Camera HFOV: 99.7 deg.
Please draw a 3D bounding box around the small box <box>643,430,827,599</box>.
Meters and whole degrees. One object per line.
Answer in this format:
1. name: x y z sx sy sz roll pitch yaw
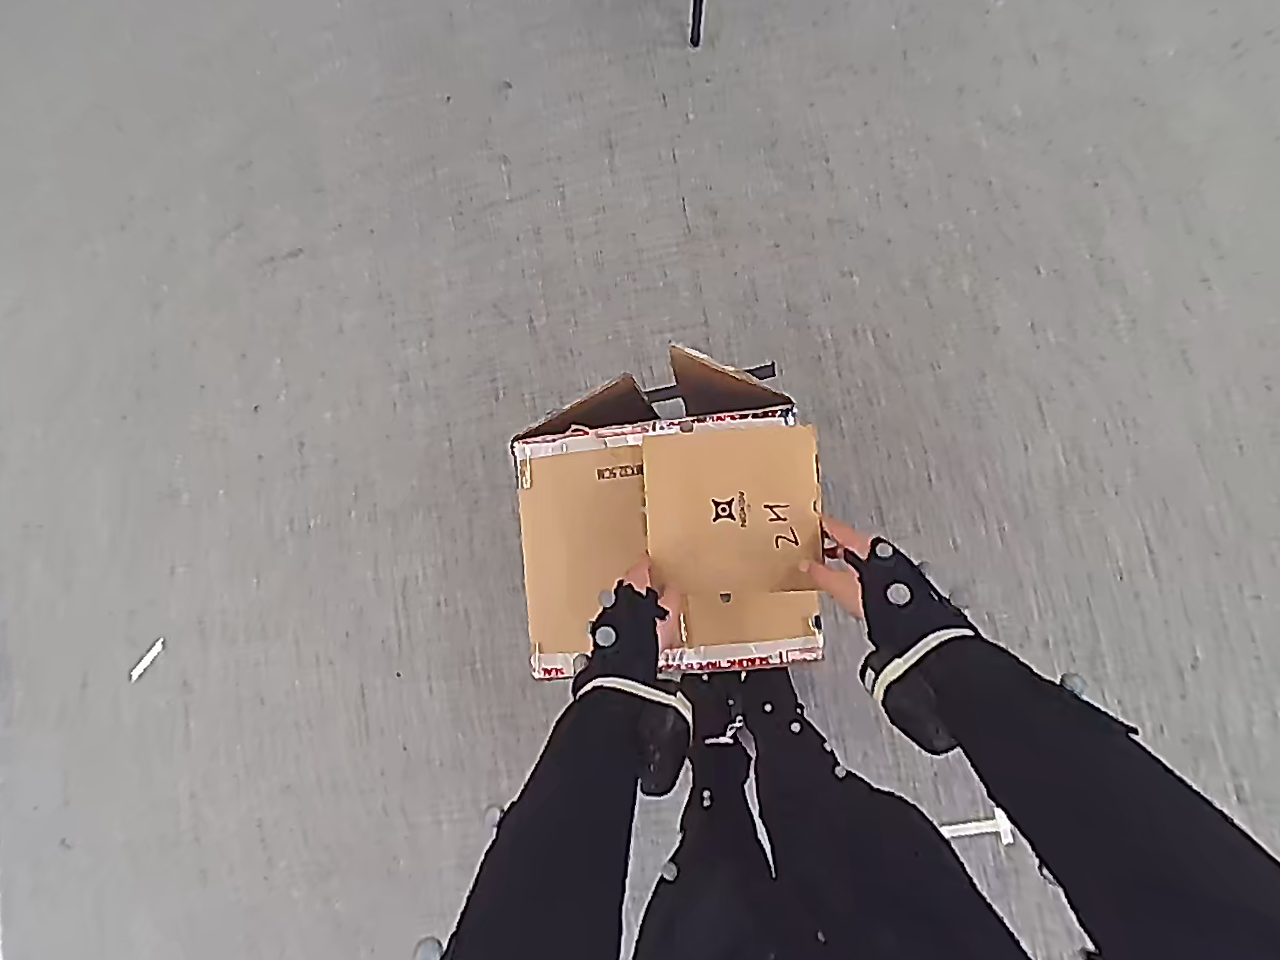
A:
1. small box: 0.103 0.040 0.619 0.179 0.176 0.168 -4 87 7
